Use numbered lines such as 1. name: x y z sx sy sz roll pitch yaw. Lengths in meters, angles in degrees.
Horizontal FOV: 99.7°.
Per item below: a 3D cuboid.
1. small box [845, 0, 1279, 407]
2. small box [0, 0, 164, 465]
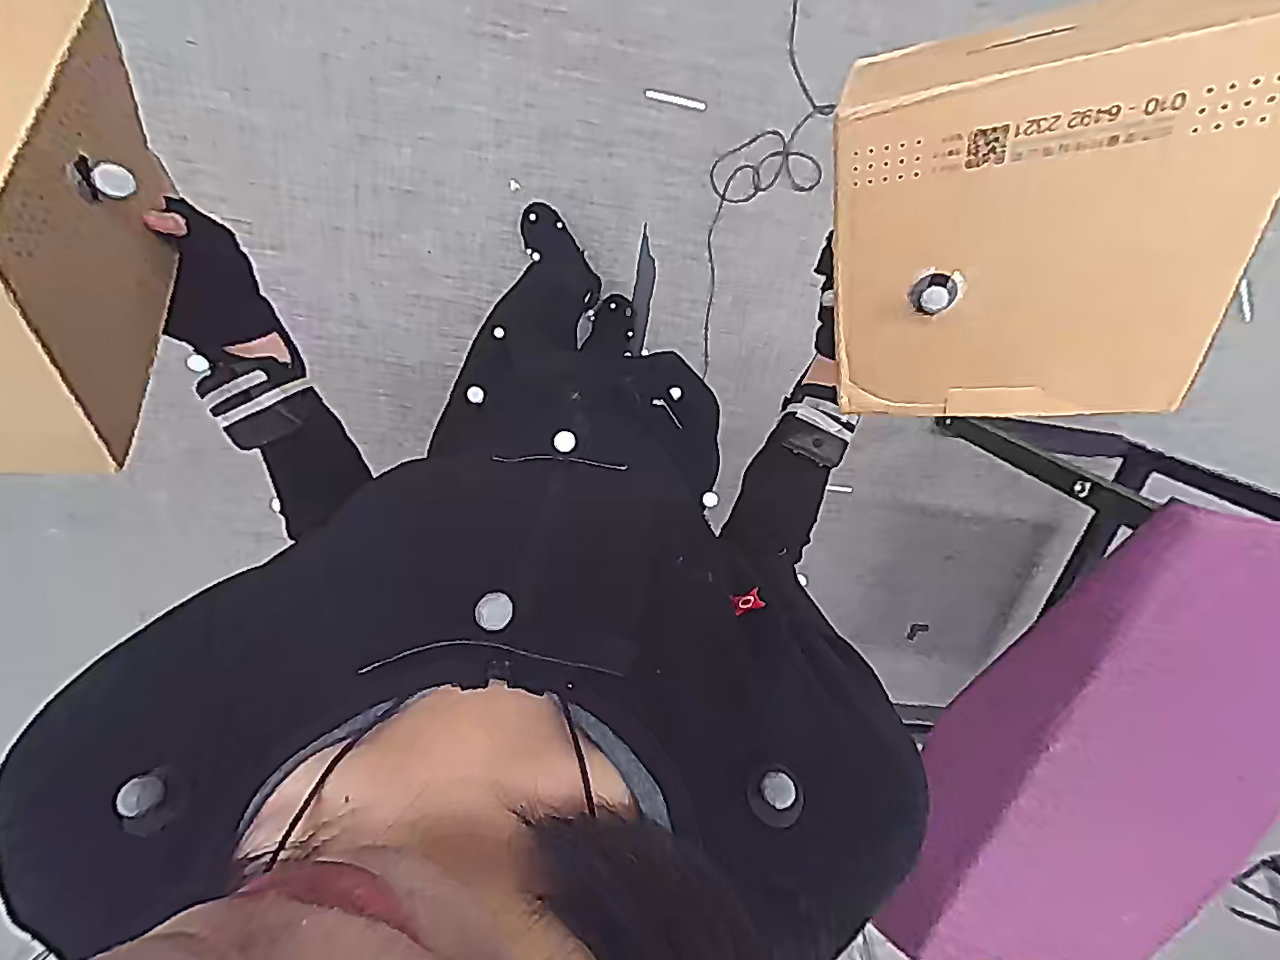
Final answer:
1. small box: 0.206 -0.159 0.301 0.168 0.179 0.176 3 133 23
2. small box: -0.338 -0.124 0.225 0.168 0.179 0.176 3 150 -29
